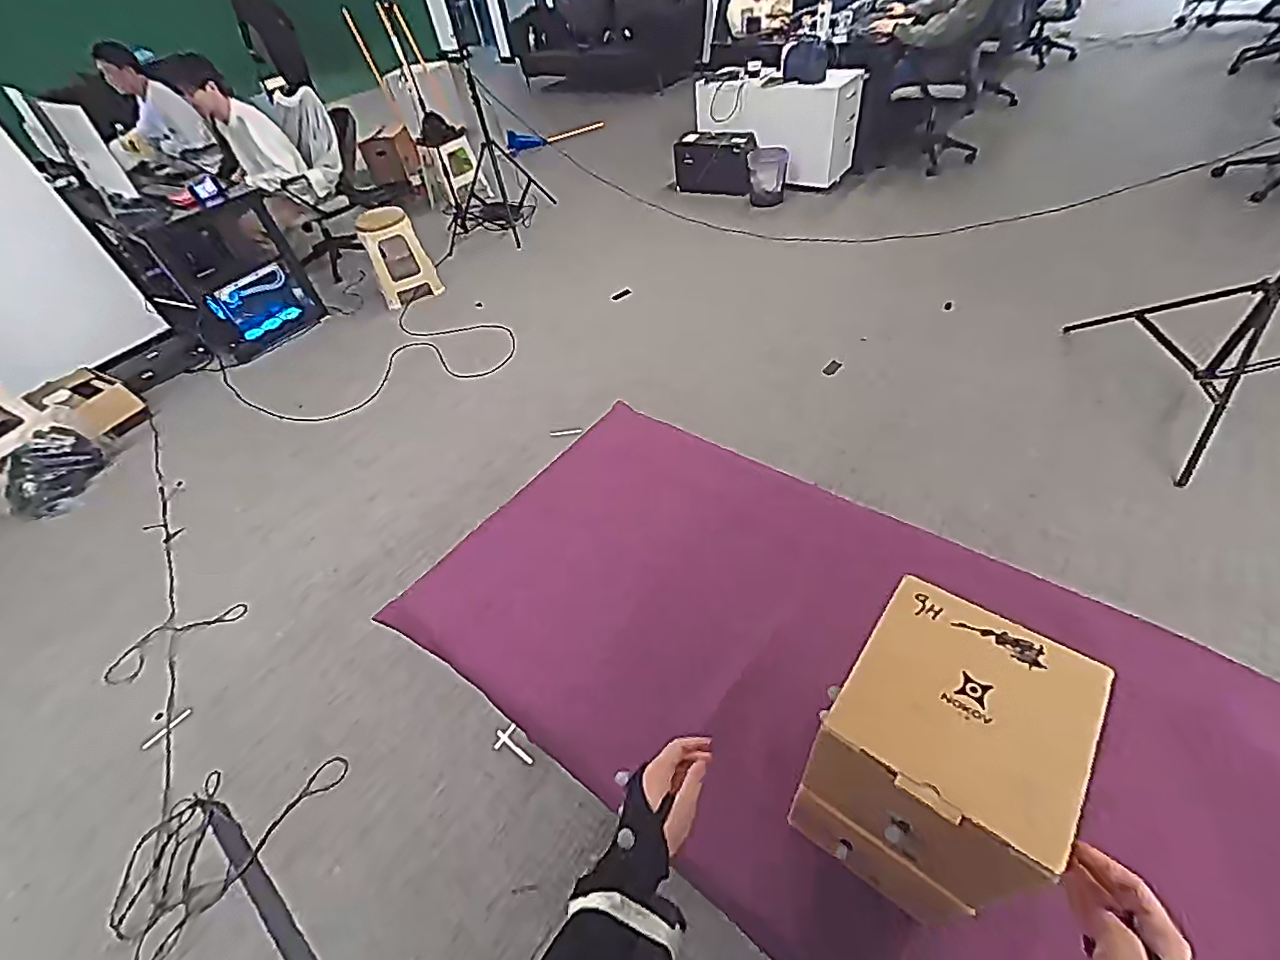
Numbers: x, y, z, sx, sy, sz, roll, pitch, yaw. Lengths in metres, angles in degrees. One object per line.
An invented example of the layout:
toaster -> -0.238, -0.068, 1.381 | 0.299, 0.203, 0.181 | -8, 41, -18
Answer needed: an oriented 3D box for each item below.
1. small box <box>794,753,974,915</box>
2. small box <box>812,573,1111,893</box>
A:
small box -> 0.285, 0.340, 0.604 | 0.168, 0.176, 0.179 | 26, 56, 29
small box -> 0.269, 0.226, 0.487 | 0.168, 0.176, 0.179 | 27, 57, 30
